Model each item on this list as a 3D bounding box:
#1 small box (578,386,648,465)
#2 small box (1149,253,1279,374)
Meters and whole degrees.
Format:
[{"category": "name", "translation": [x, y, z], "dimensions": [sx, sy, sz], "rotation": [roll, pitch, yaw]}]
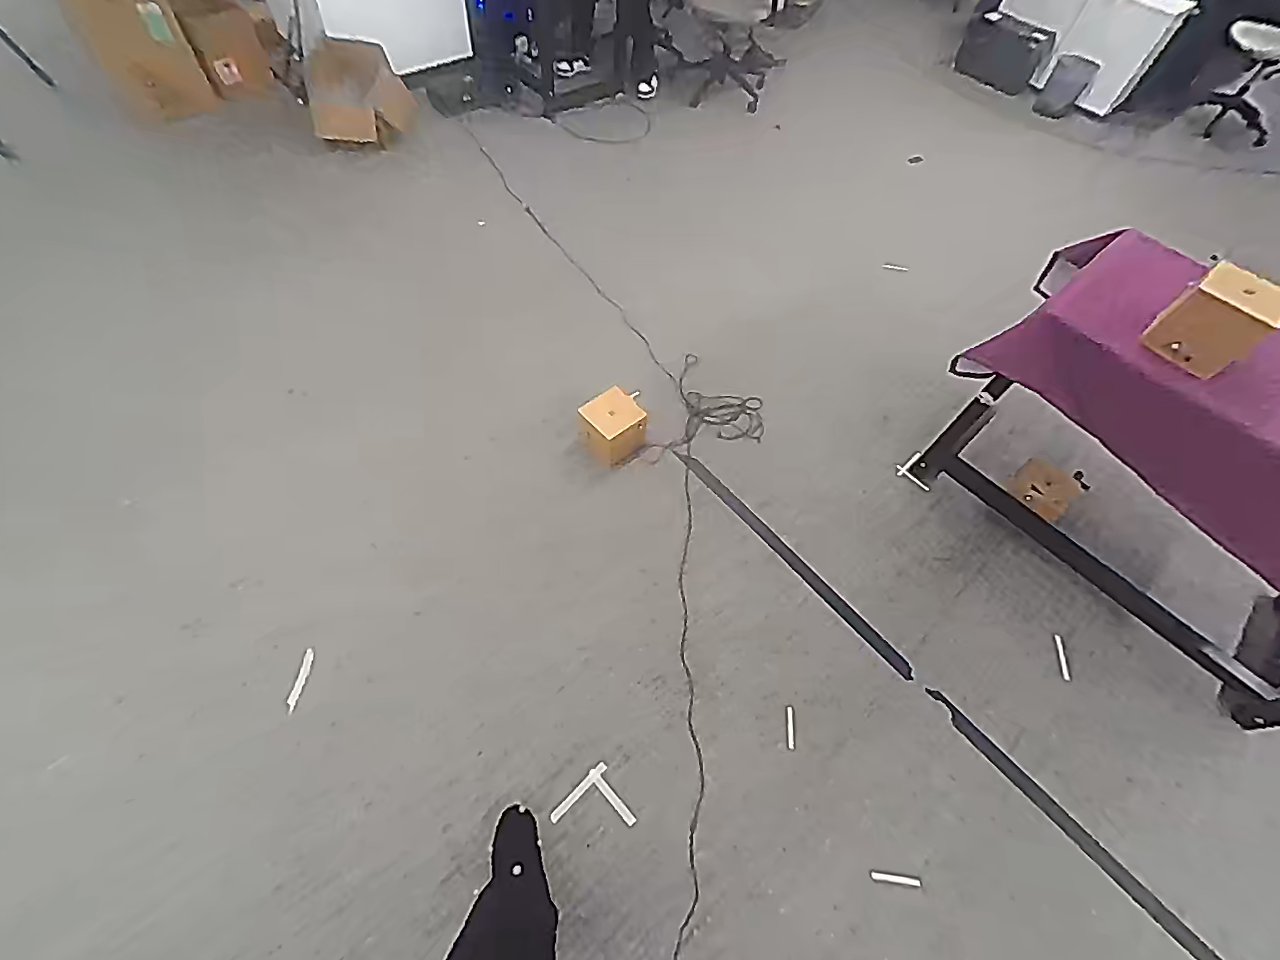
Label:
[{"category": "small box", "translation": [-0.092, -0.181, 1.846], "dimensions": [0.179, 0.176, 0.168], "rotation": [-36, 68, -24]}, {"category": "small box", "translation": [1.339, -0.380, 1.242], "dimensions": [0.179, 0.176, 0.168], "rotation": [-35, 67, -23]}]
